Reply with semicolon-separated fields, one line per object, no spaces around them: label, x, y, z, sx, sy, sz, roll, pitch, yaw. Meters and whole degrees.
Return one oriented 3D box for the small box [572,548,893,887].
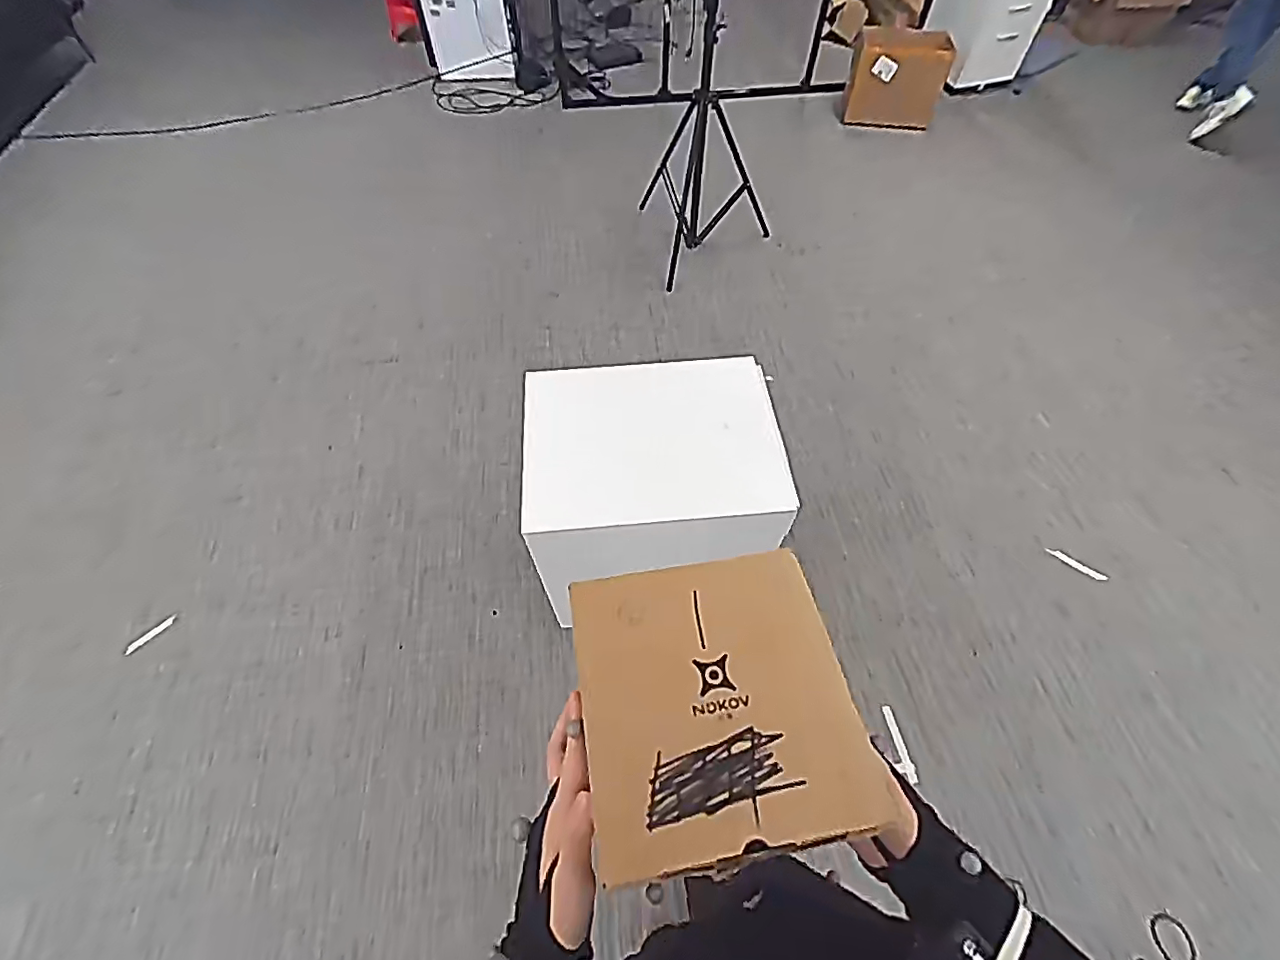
small box;0.045;0.176;0.399;0.168;0.176;0.179;-7;54;-7
